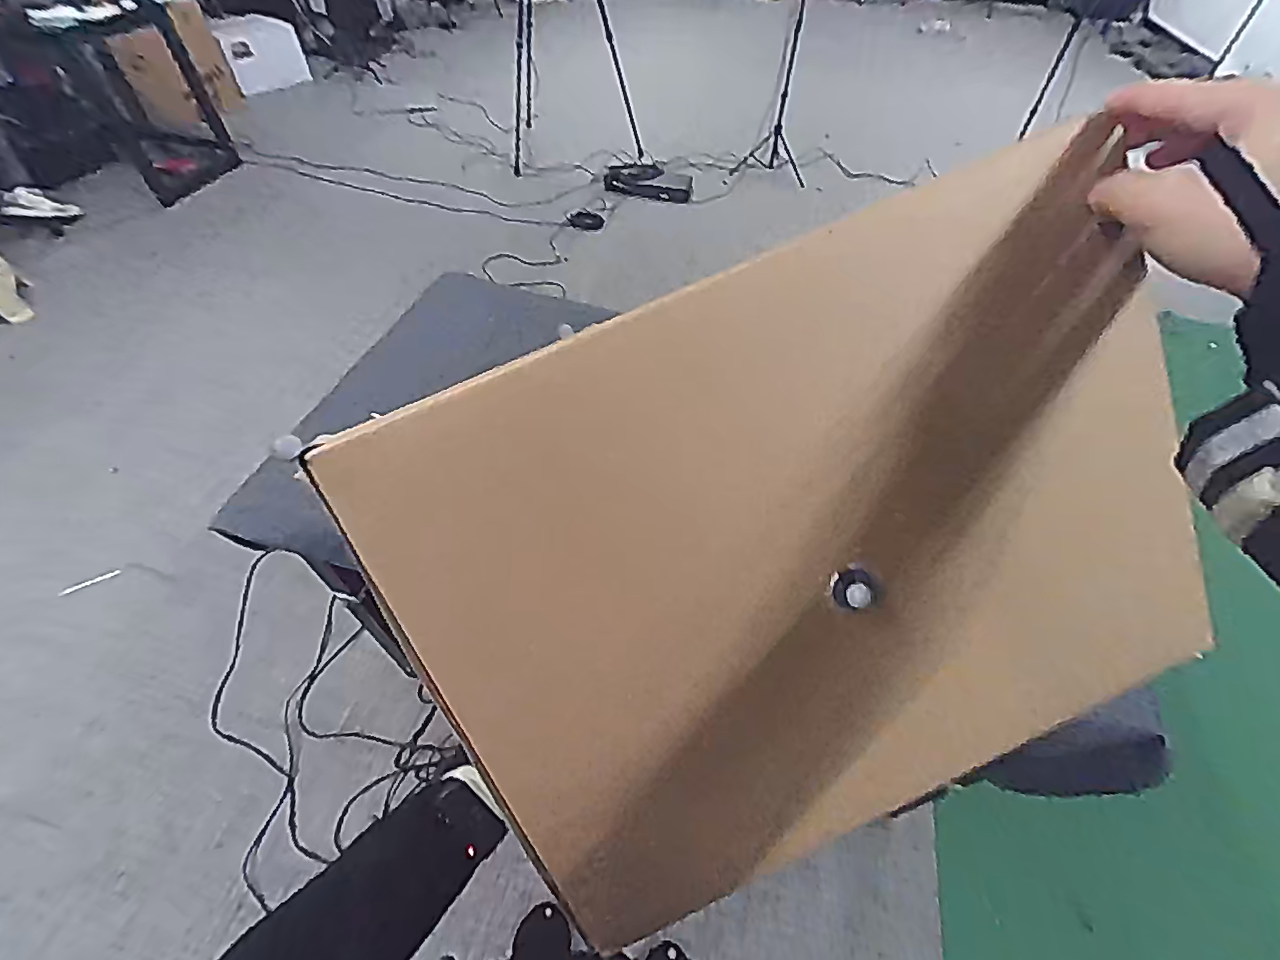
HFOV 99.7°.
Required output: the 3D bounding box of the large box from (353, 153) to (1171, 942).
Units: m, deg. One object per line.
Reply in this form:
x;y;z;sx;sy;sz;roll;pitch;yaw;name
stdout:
0.084;0.025;0.433;0.408;0.320;0.320;-26;14;-5;large box
